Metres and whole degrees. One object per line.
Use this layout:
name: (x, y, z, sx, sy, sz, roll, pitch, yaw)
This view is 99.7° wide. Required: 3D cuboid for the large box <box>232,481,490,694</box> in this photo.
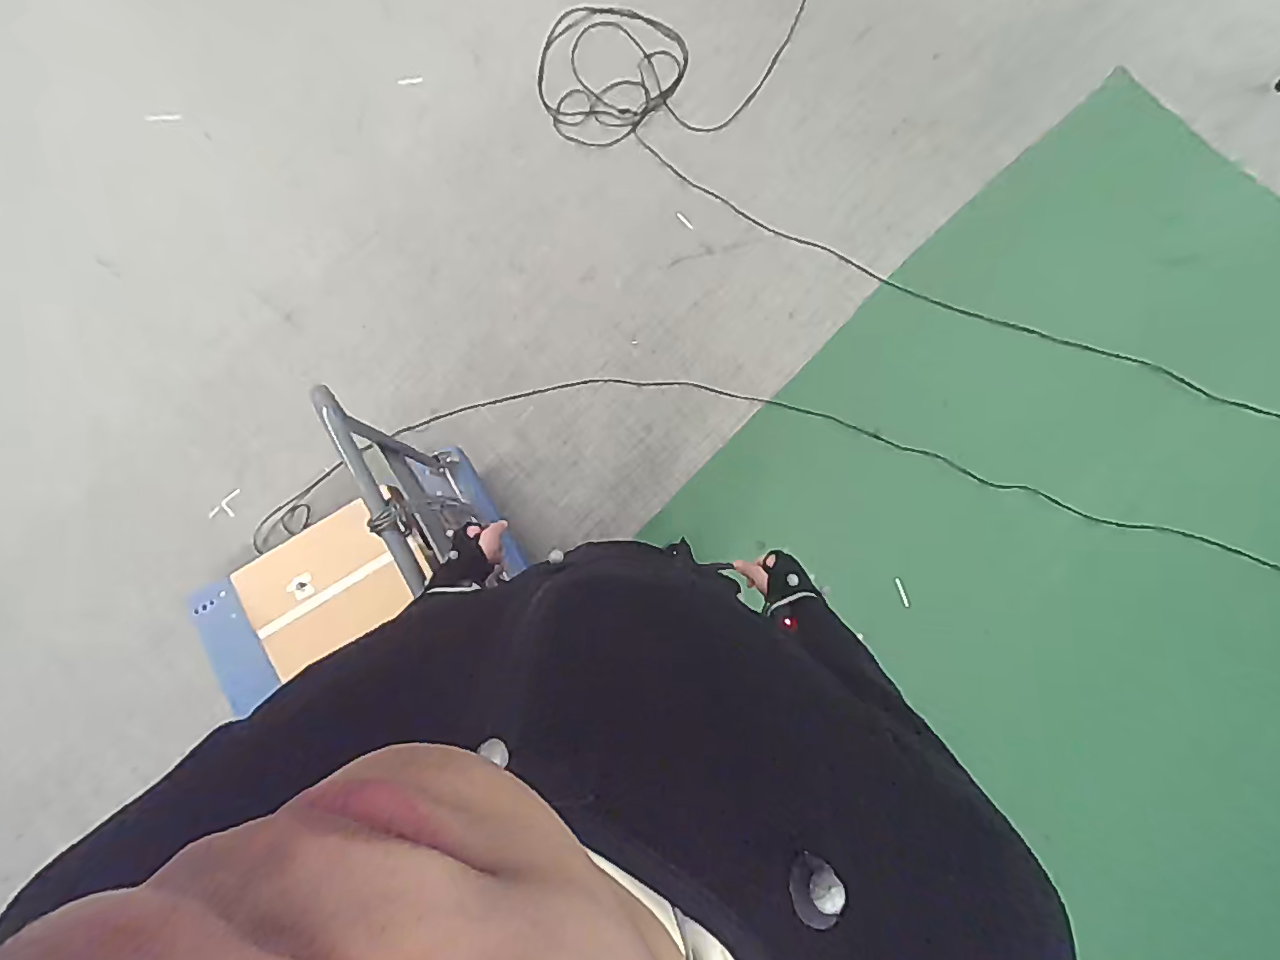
large box: (-0.652, 0.244, 1.329, 0.408, 0.320, 0.320, -31, 83, -1)
